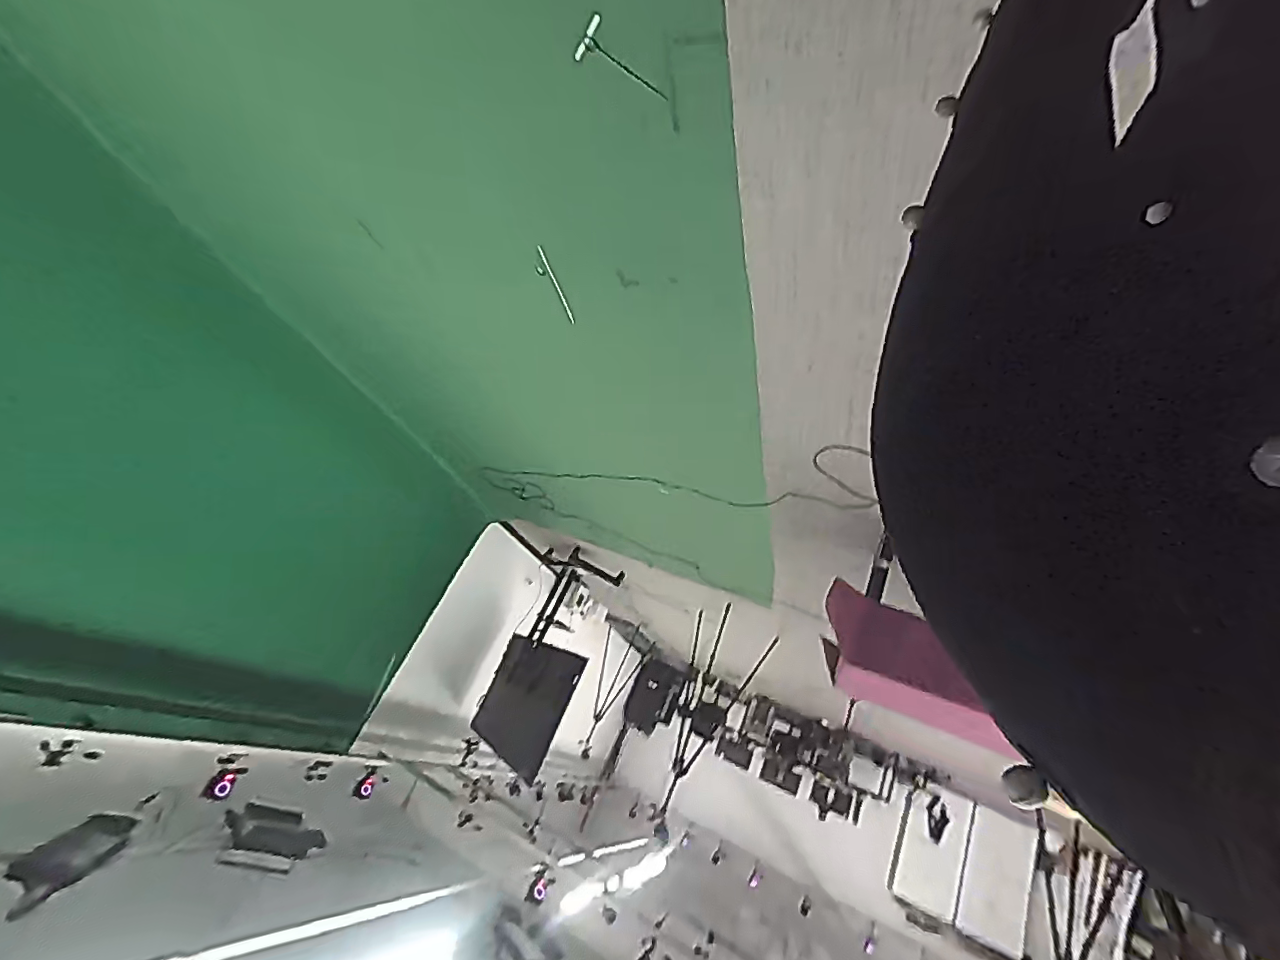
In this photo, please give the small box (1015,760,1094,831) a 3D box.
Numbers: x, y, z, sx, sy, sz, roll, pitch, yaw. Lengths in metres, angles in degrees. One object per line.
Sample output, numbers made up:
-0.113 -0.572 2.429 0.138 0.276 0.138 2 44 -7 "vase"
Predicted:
1.566 1.184 2.040 0.179 0.176 0.168 22 156 13 "small box"
